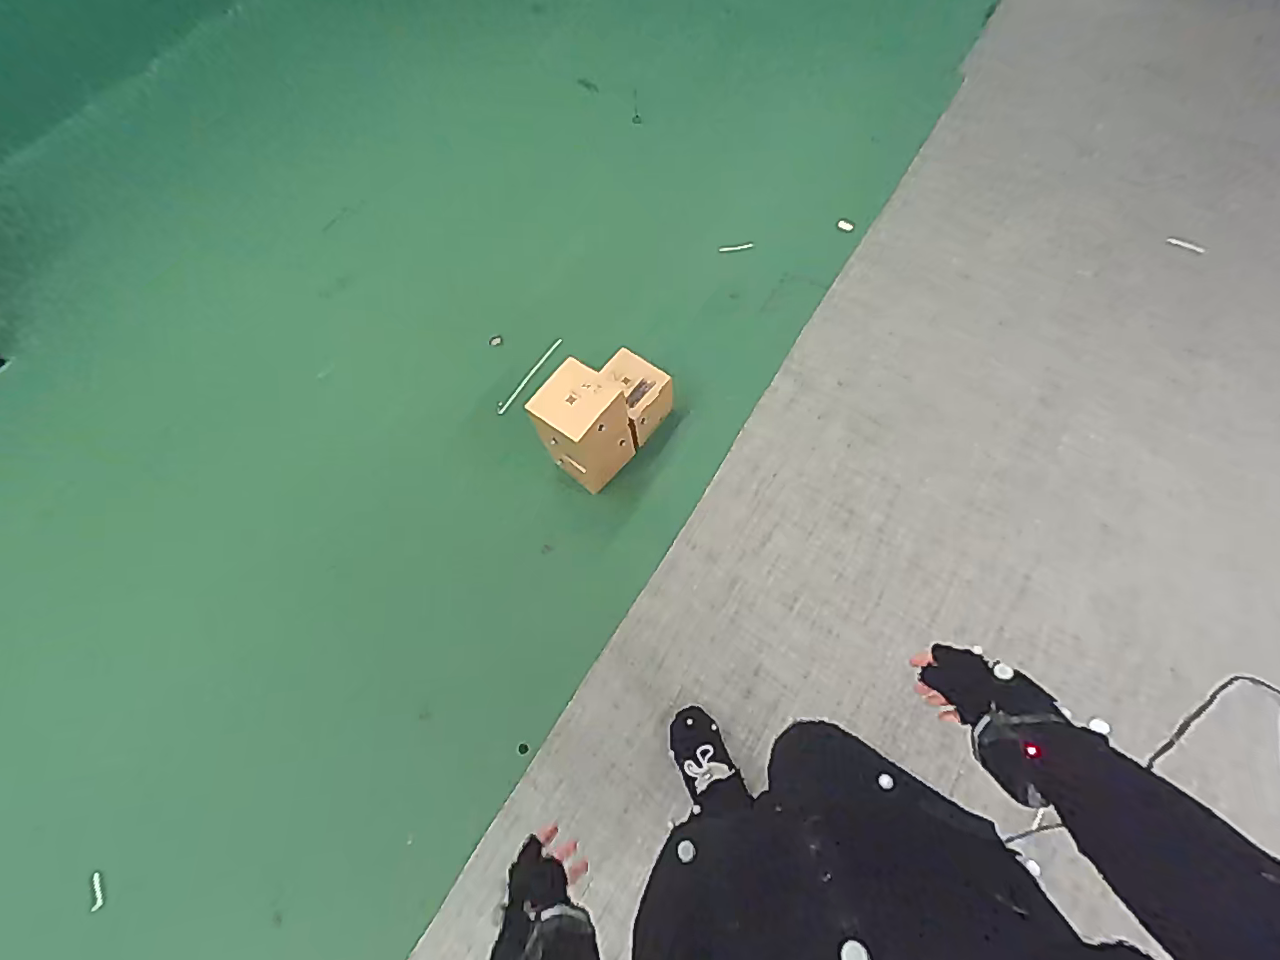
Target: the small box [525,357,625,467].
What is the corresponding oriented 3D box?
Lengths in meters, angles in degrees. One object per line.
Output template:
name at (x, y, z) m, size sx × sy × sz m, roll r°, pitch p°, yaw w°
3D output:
small box at (-0.150, -0.161, 1.337) m, size 0.168 × 0.176 × 0.179 m, roll 34°, pitch 73°, yaw 16°
